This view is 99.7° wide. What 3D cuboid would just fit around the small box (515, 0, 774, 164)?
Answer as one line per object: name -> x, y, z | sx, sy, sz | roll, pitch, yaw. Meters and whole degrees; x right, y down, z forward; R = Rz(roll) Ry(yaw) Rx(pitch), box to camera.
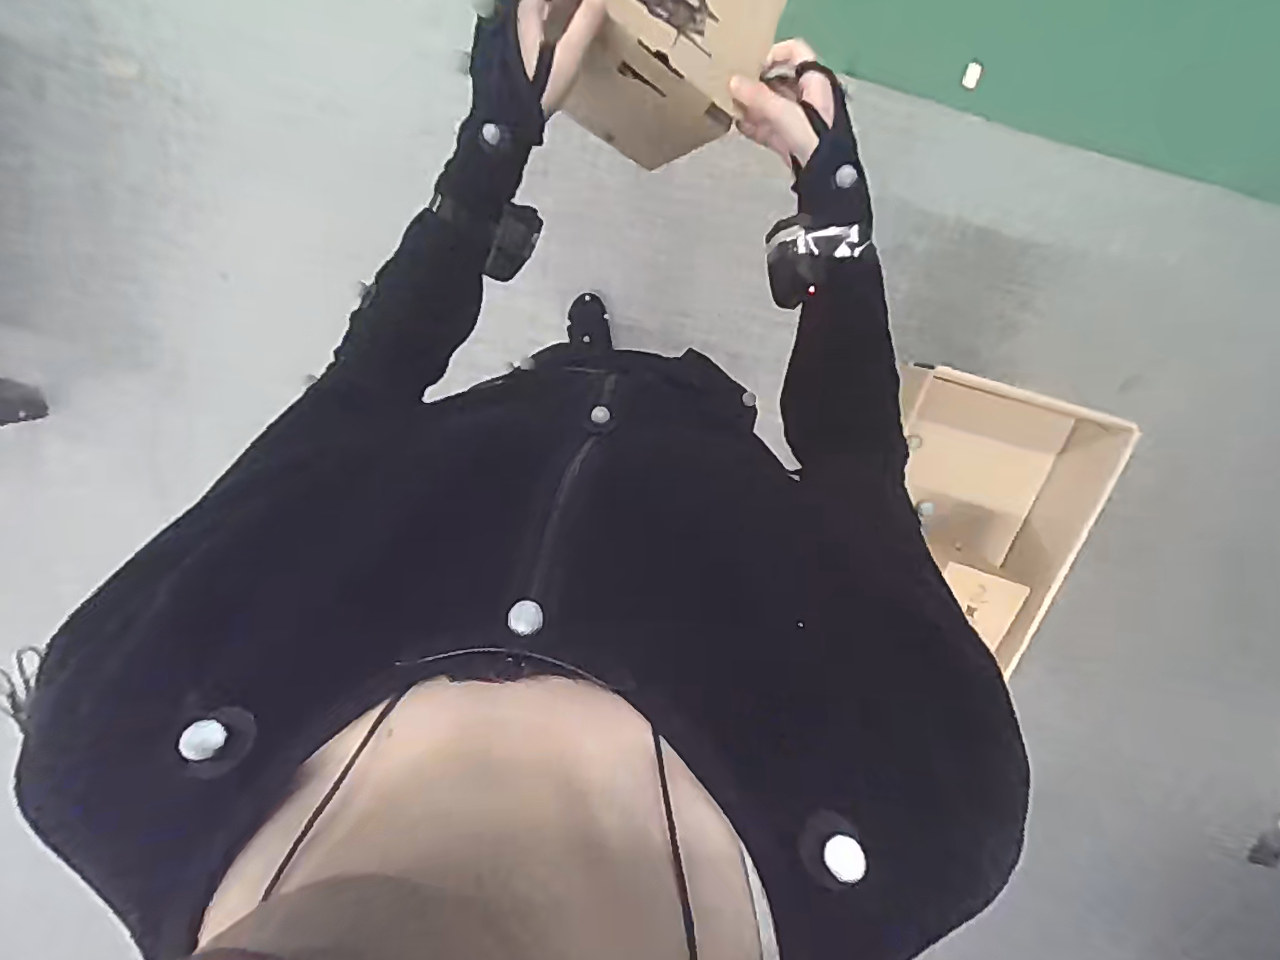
small box -> 0.000, -0.416, 0.478 | 0.168, 0.176, 0.179 | 17, 99, -29
